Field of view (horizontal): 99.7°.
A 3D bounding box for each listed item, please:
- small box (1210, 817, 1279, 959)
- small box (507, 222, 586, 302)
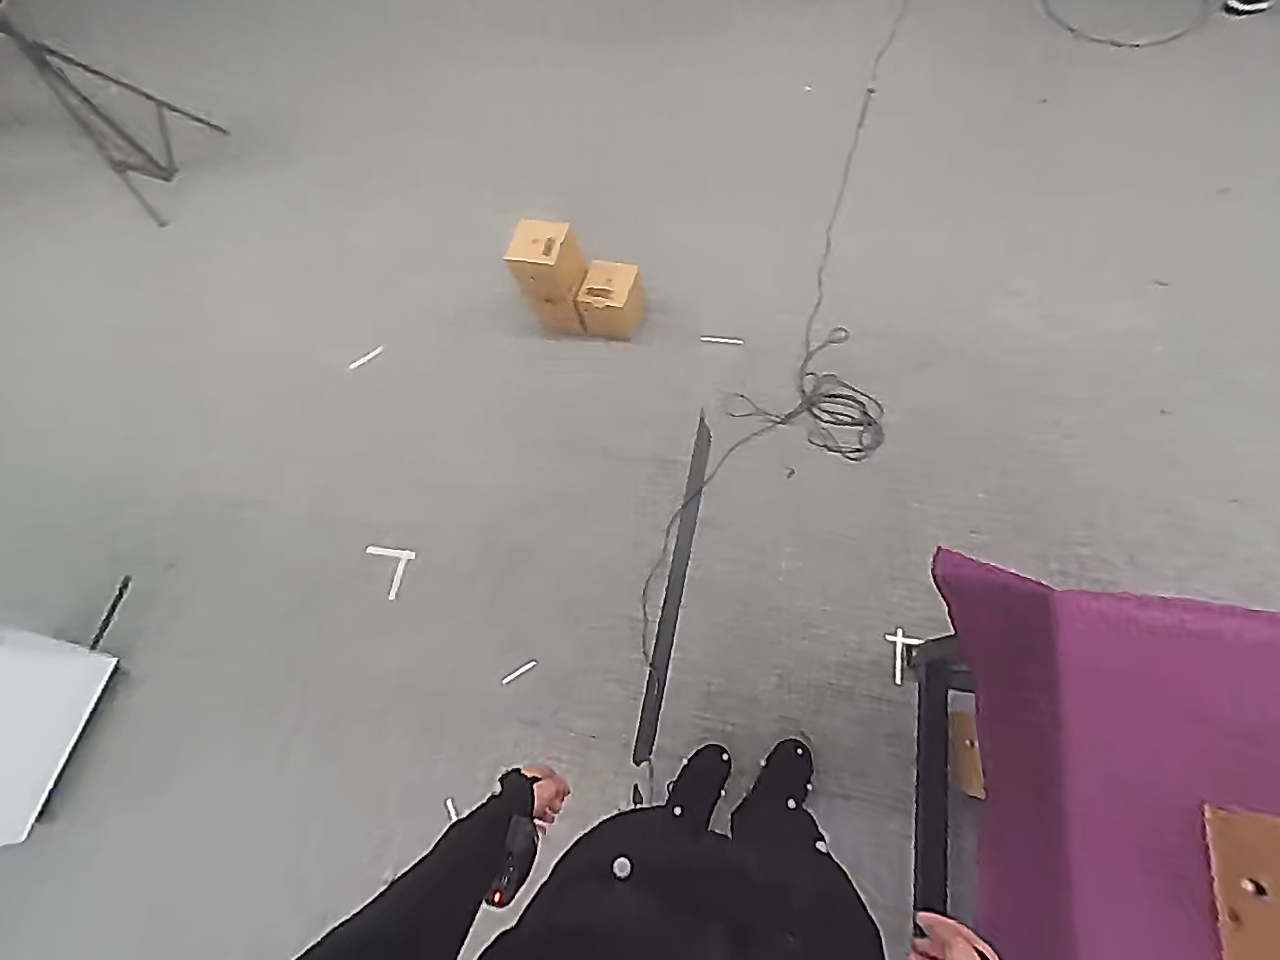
[{"bbox_3d":[0.710,0.440,0.506,0.179,0.176,0.168,8,70,13],"label":"small box"},{"bbox_3d":[-0.292,-0.694,1.735,0.179,0.176,0.168,13,71,16],"label":"small box"}]
